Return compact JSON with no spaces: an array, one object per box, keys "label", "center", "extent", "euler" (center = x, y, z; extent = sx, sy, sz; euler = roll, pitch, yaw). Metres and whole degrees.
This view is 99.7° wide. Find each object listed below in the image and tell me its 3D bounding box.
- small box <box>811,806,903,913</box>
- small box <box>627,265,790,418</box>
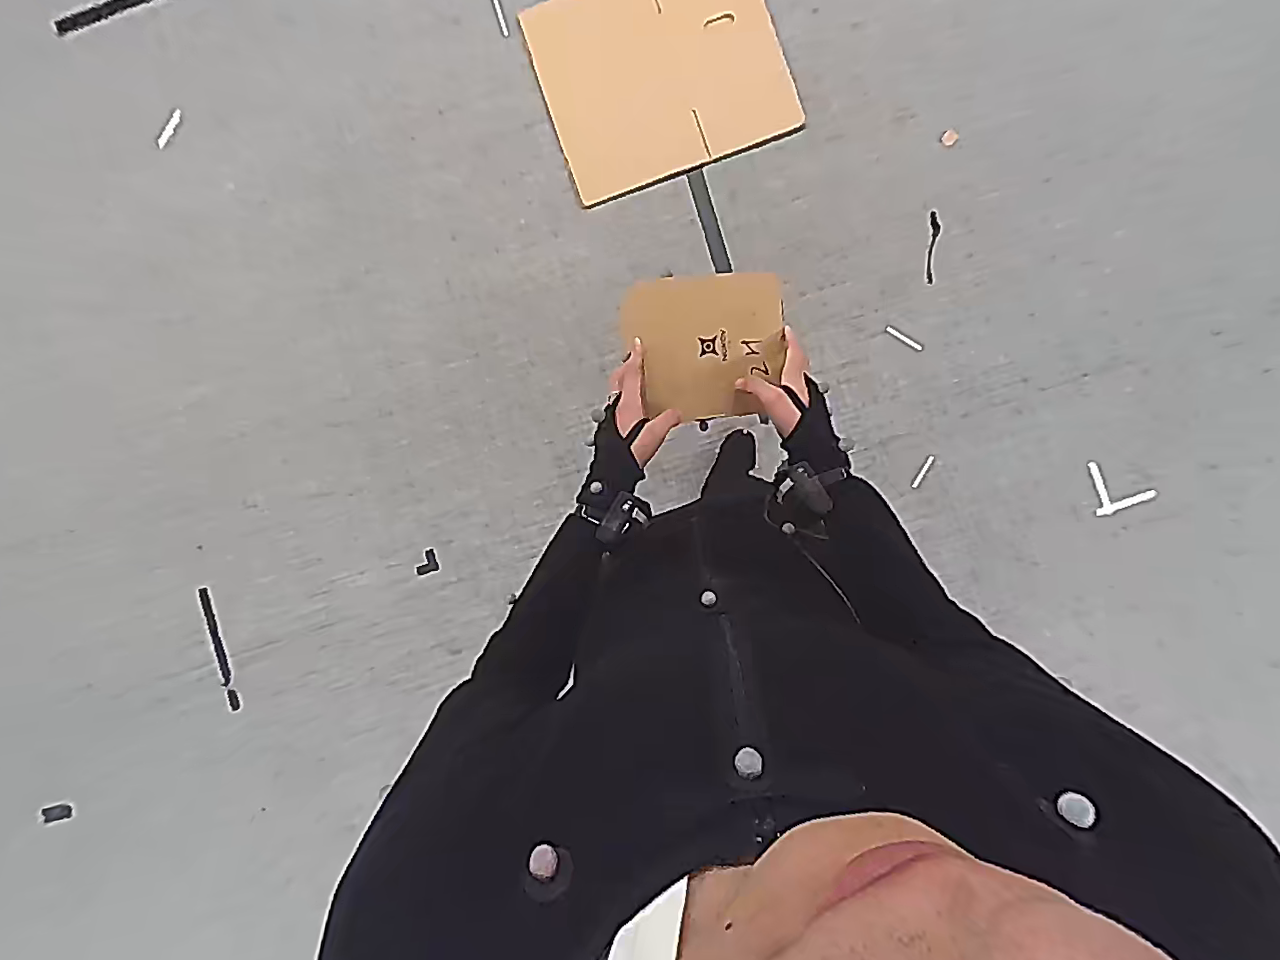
[{"label":"small box","center":[0.608,1.067,1.541],"extent":[0.168,0.176,0.179],"euler":[-20,90,3]},{"label":"small box","center":[0.078,-0.170,0.707],"extent":[0.179,0.176,0.168],"euler":[-6,97,-7]}]
